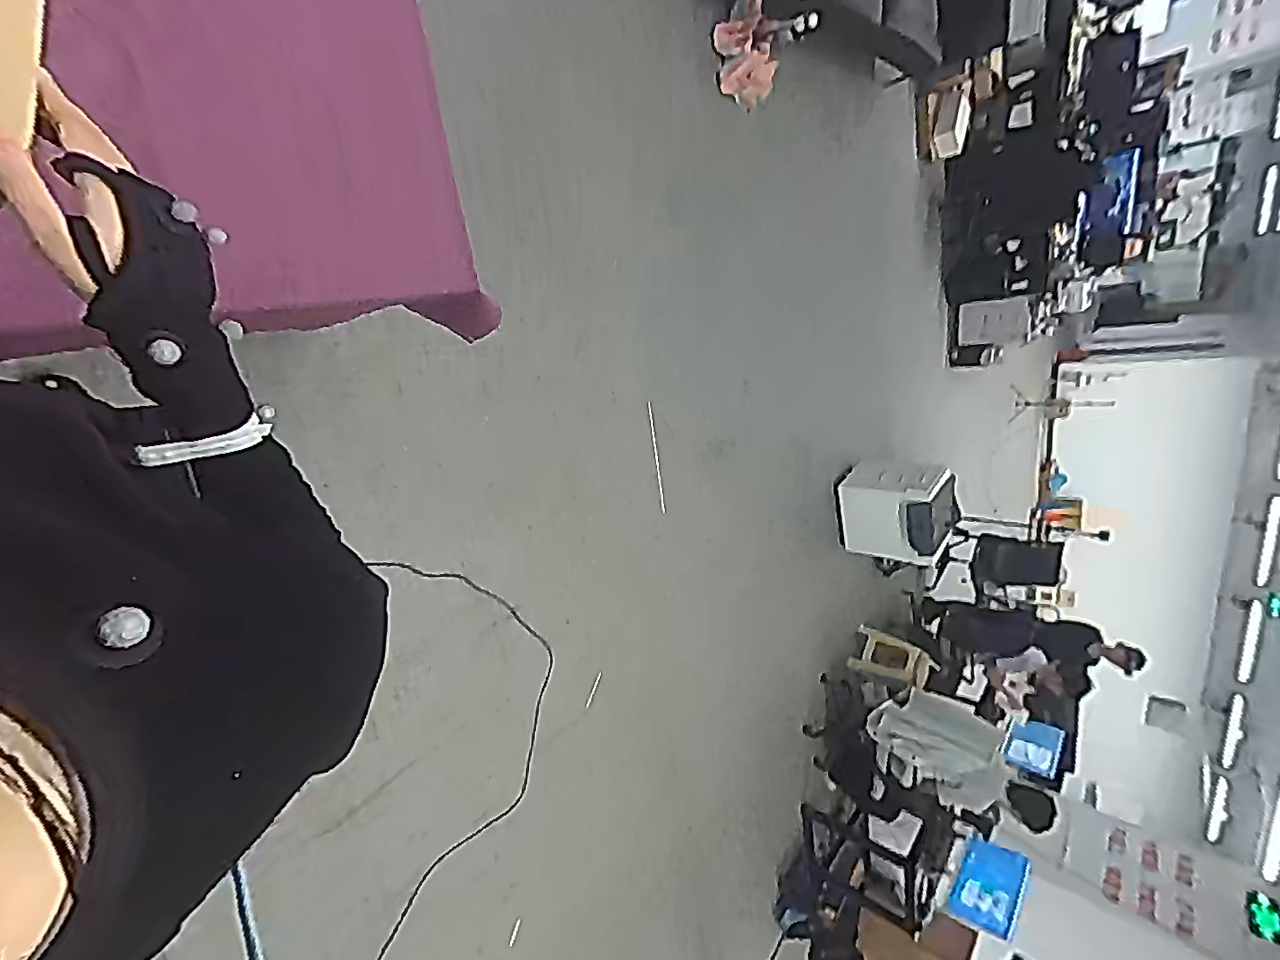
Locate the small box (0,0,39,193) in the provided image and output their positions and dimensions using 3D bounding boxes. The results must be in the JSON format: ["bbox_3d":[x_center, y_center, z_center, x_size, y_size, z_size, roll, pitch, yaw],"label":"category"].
[{"bbox_3d":[-0.429,-0.264,0.265,0.168,0.176,0.179,5,98,-53],"label":"small box"}]
